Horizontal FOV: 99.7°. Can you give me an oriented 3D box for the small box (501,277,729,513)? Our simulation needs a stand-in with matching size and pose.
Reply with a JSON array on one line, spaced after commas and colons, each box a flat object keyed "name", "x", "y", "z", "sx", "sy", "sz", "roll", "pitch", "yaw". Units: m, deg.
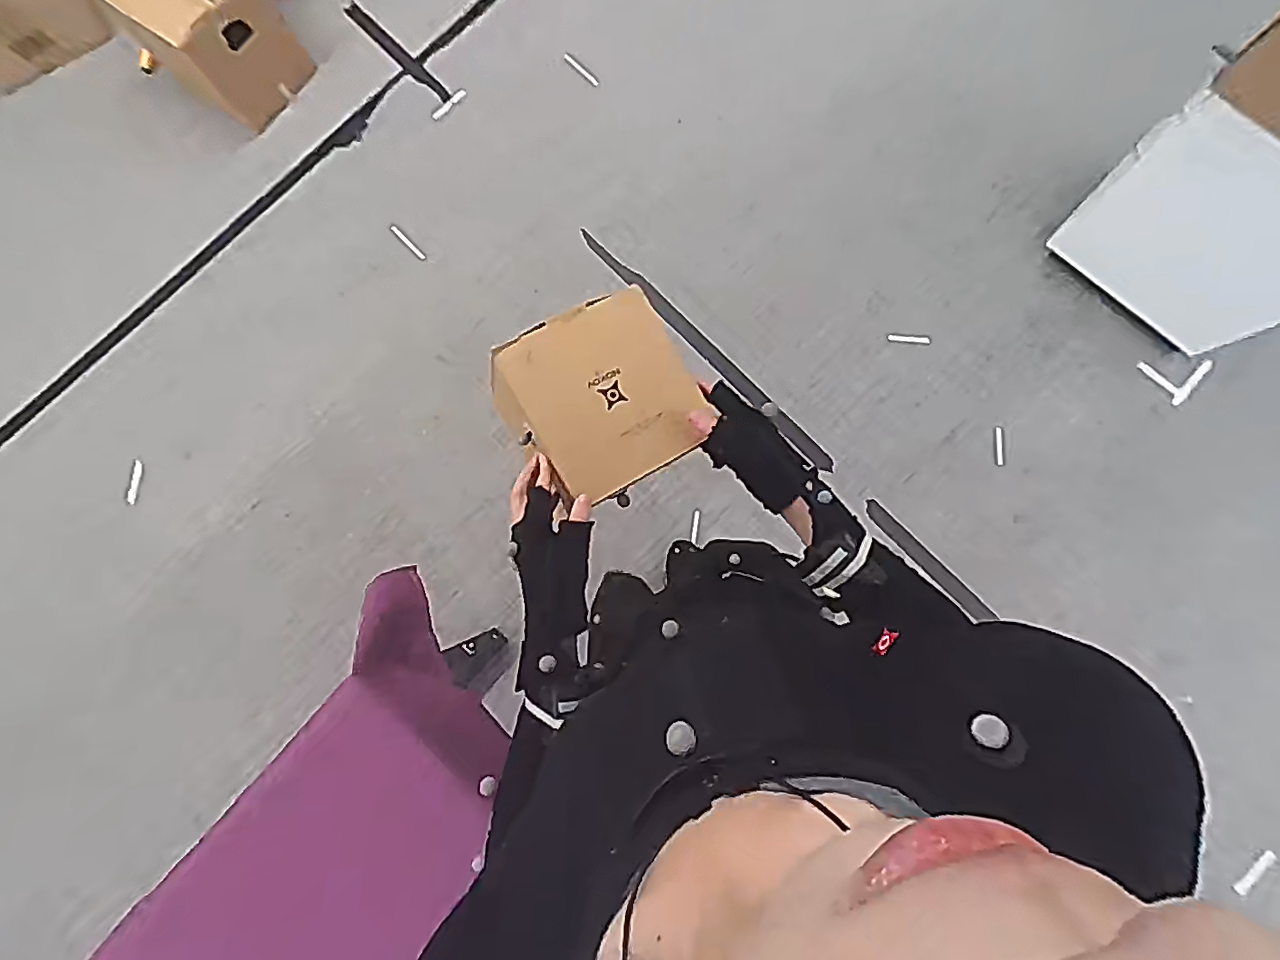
[{"name": "small box", "x": -0.039, "y": -0.079, "z": 0.590, "sx": 0.168, "sy": 0.176, "sz": 0.179, "roll": -29, "pitch": 89, "yaw": -16}]
